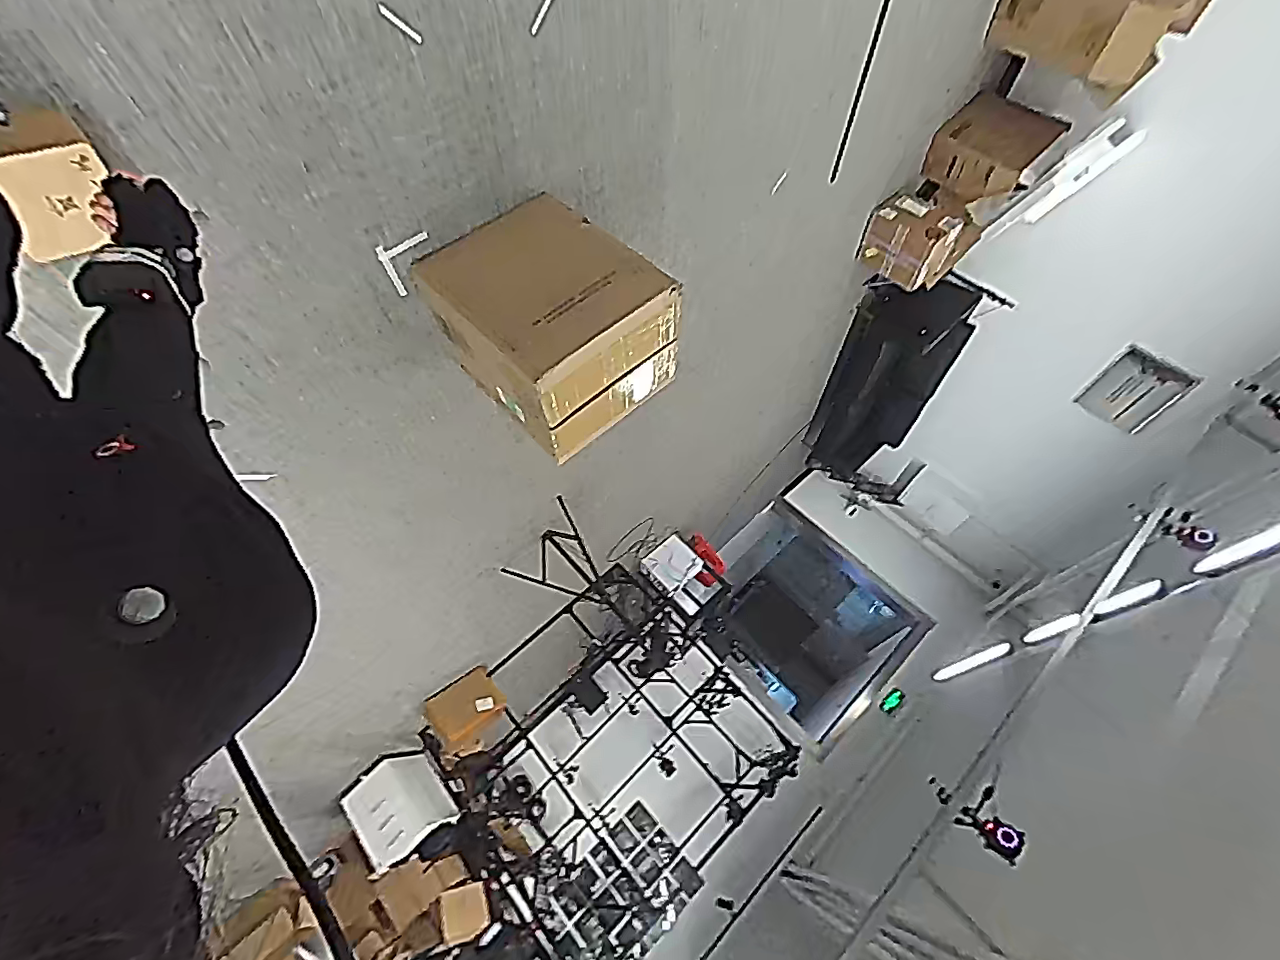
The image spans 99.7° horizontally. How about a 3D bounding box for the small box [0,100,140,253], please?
[{"bbox_3d":[-1.039,-0.529,0.939,0.179,0.176,0.168,-33,154,-28],"label":"small box"}]
